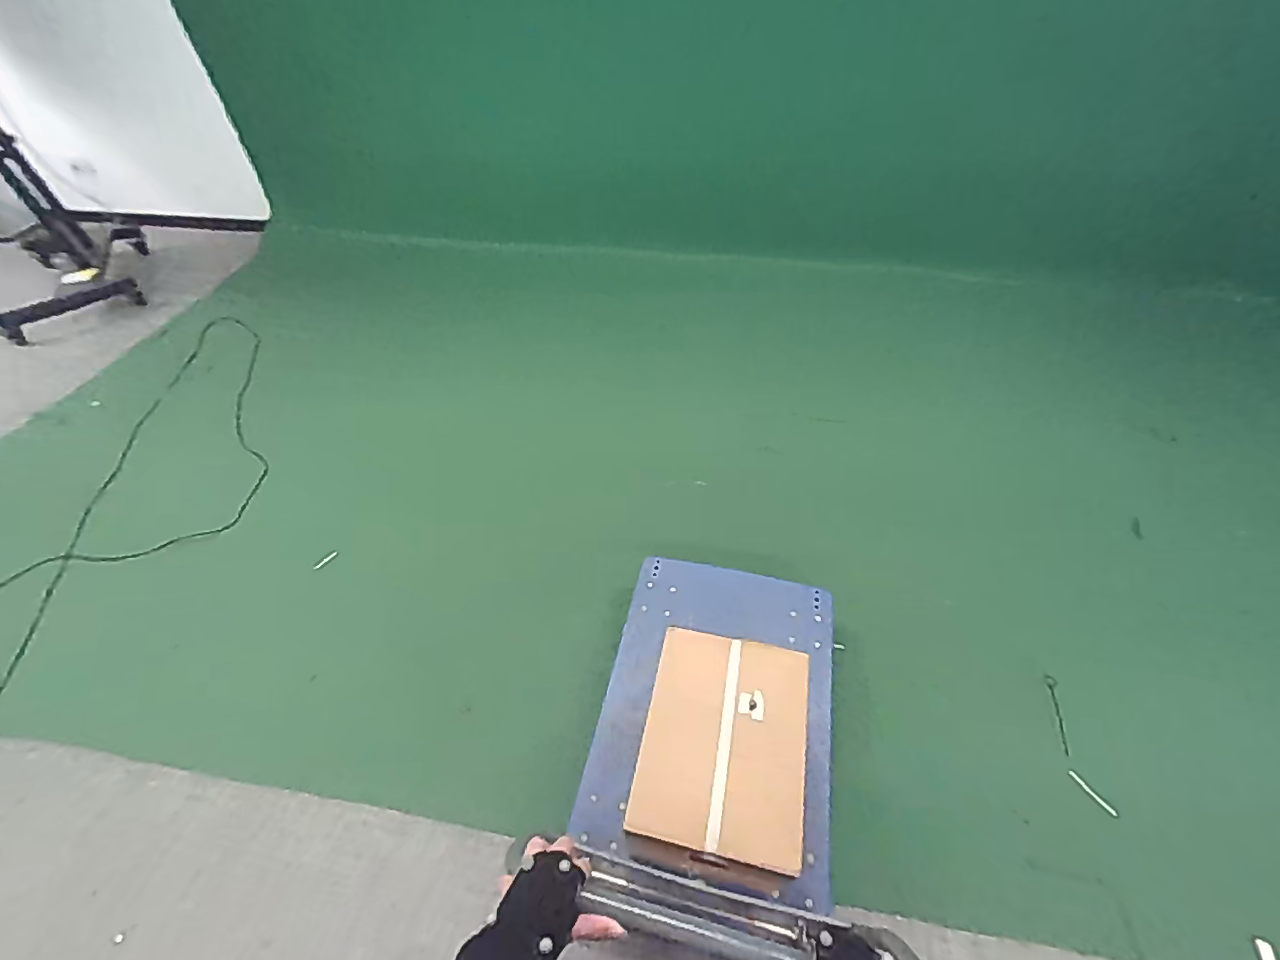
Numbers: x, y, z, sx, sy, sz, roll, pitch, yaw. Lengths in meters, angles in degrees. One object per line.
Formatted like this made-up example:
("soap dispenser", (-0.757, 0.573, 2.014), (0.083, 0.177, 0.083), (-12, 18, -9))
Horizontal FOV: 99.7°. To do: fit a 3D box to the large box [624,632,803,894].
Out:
("large box", (0.166, 0.610, 1.181), (0.320, 0.320, 0.408), (10, 49, 10))
